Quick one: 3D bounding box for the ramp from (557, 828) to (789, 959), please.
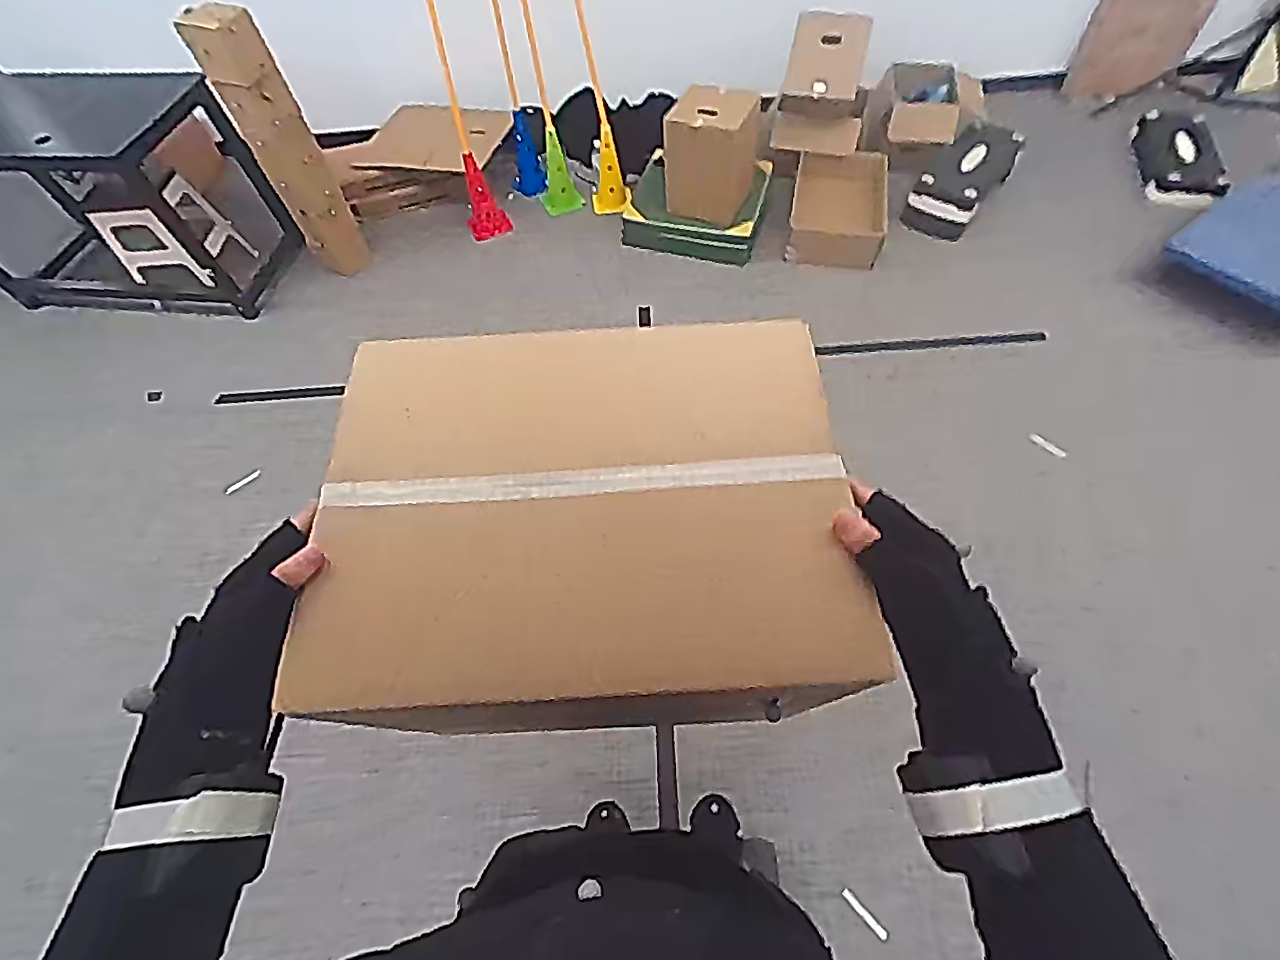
[{"bbox_3d":[0.084,1.263,1.043,0.509,0.206,0.991,-4,59,-1],"label":"ramp"}]

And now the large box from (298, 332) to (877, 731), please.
[{"bbox_3d":[-0.038,0.078,0.565,0.408,0.320,0.320,-3,62,0],"label":"large box"}]
